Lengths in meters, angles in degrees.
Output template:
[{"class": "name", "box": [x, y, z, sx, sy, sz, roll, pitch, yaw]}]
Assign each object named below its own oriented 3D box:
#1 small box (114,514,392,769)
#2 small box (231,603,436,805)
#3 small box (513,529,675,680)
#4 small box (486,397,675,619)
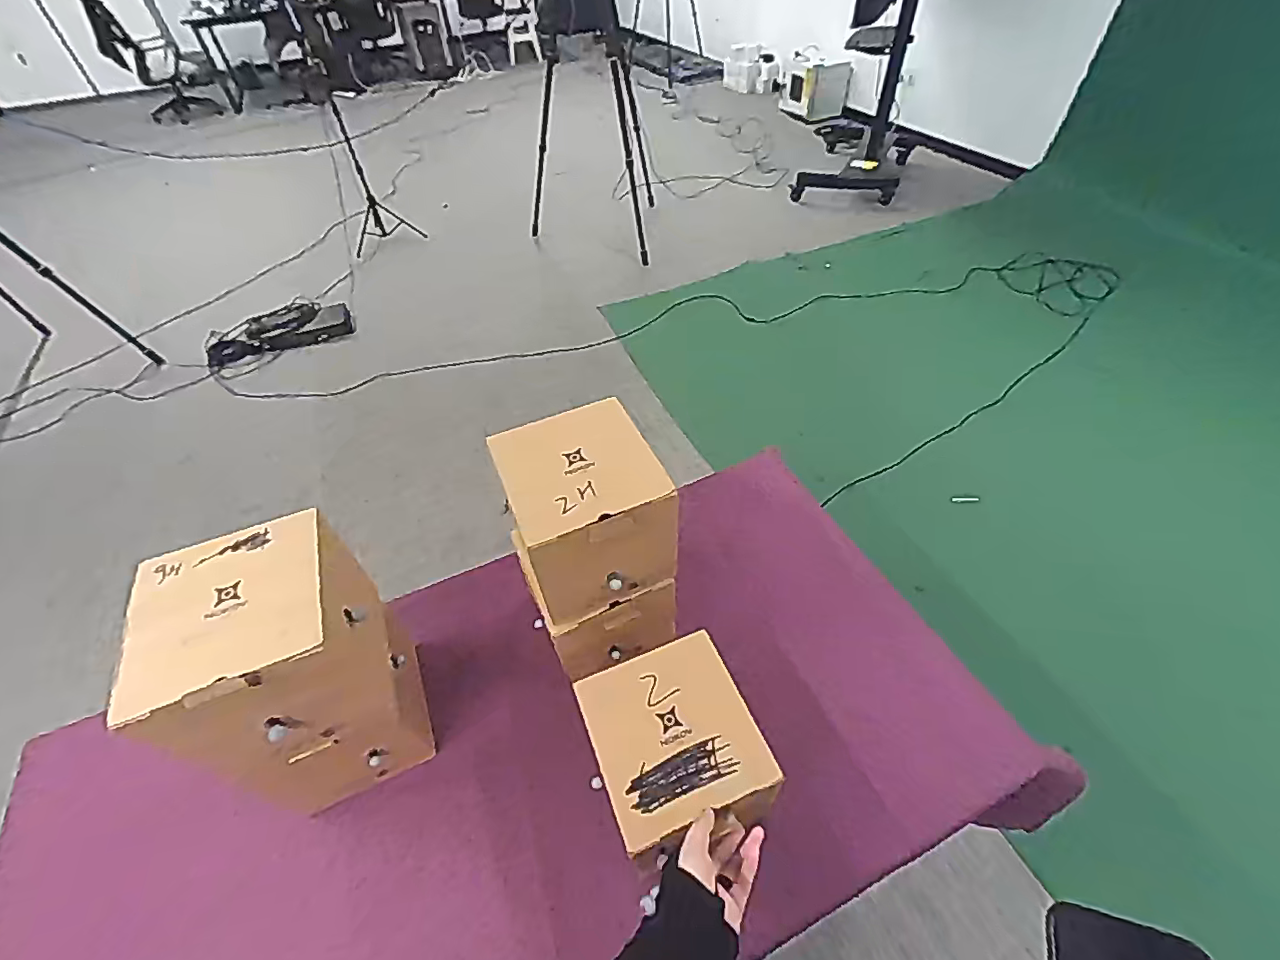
[{"class": "small box", "box": [-0.376, 0.172, 0.559, 0.168, 0.176, 0.179, -20, 51, -15]}, {"class": "small box", "box": [-0.374, 0.281, 0.682, 0.168, 0.176, 0.179, -21, 50, -15]}, {"class": "small box", "box": [-0.063, 0.150, 0.774, 0.168, 0.176, 0.179, -23, 52, -15]}, {"class": "small box", "box": [-0.069, 0.035, 0.656, 0.168, 0.176, 0.179, -21, 51, -13]}]
